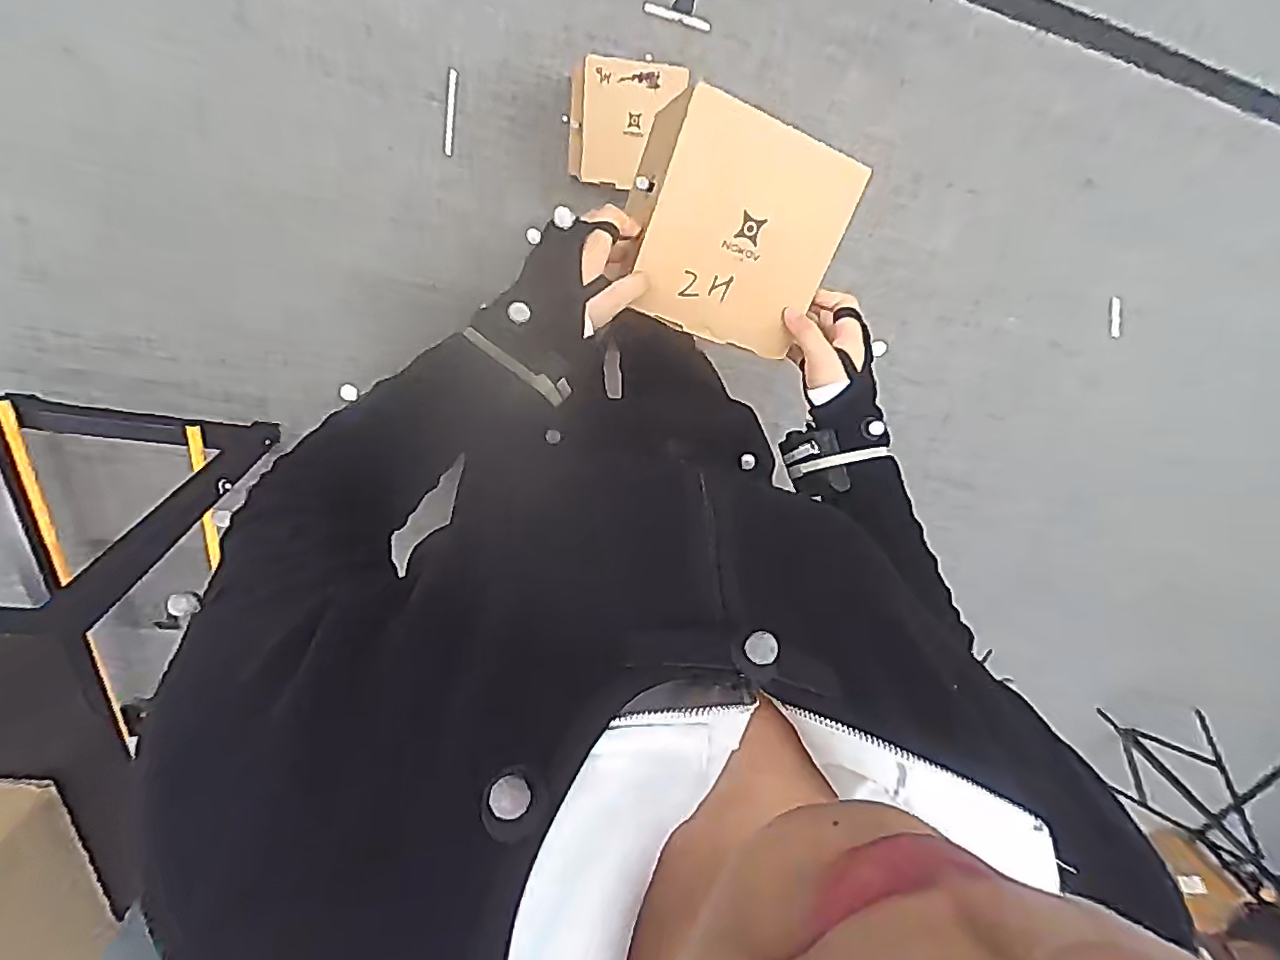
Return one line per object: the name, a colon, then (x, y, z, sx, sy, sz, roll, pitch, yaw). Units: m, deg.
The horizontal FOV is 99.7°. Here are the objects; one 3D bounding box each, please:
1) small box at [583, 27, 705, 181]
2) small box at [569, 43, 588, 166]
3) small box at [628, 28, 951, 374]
small box: (-0.005, -0.587, 0.864, 0.168, 0.176, 0.179, 2, 121, -9)
small box: (-0.043, -0.674, 0.999, 0.168, 0.176, 0.179, 2, 122, -9)
small box: (0.098, -0.213, 0.448, 0.168, 0.176, 0.179, 14, 113, -17)
